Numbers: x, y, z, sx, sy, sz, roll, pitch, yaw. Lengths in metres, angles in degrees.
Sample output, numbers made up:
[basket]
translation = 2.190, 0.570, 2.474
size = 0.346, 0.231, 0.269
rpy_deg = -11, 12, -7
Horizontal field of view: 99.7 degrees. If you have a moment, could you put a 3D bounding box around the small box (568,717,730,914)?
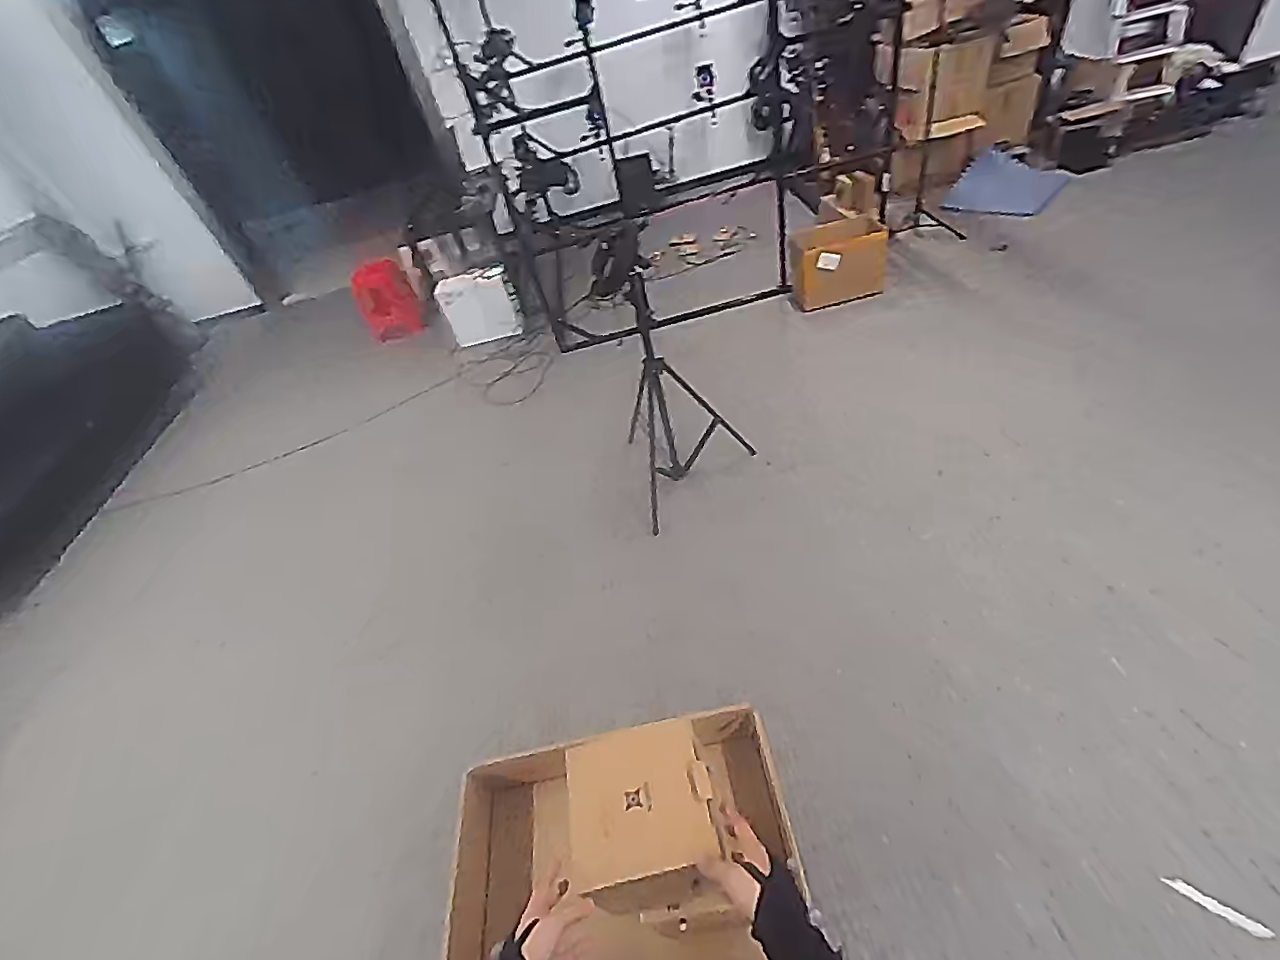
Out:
[small box]
translation = 0.015, 0.448, 0.720
size = 0.179, 0.176, 0.168
rpy_deg = -16, 42, 2
